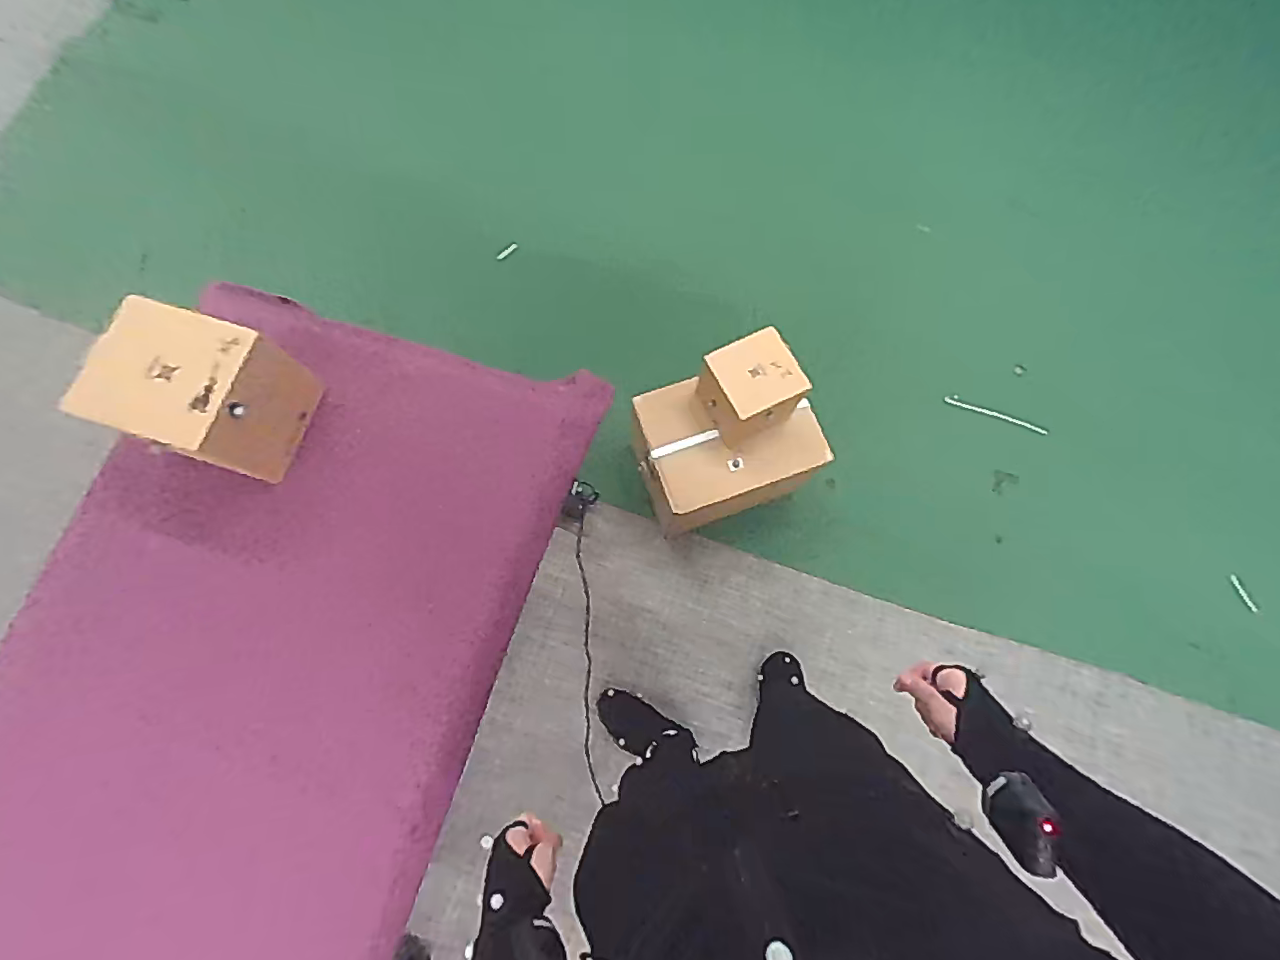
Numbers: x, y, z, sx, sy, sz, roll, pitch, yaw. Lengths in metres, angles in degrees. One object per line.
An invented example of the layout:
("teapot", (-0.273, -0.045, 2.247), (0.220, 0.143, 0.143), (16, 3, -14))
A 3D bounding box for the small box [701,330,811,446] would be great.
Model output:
("small box", (0.249, -0.200, 1.220), (0.179, 0.176, 0.168), (-25, 75, -9))

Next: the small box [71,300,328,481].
("small box", (-0.578, -0.110, 0.738), (0.179, 0.176, 0.168), (17, 76, 2))
